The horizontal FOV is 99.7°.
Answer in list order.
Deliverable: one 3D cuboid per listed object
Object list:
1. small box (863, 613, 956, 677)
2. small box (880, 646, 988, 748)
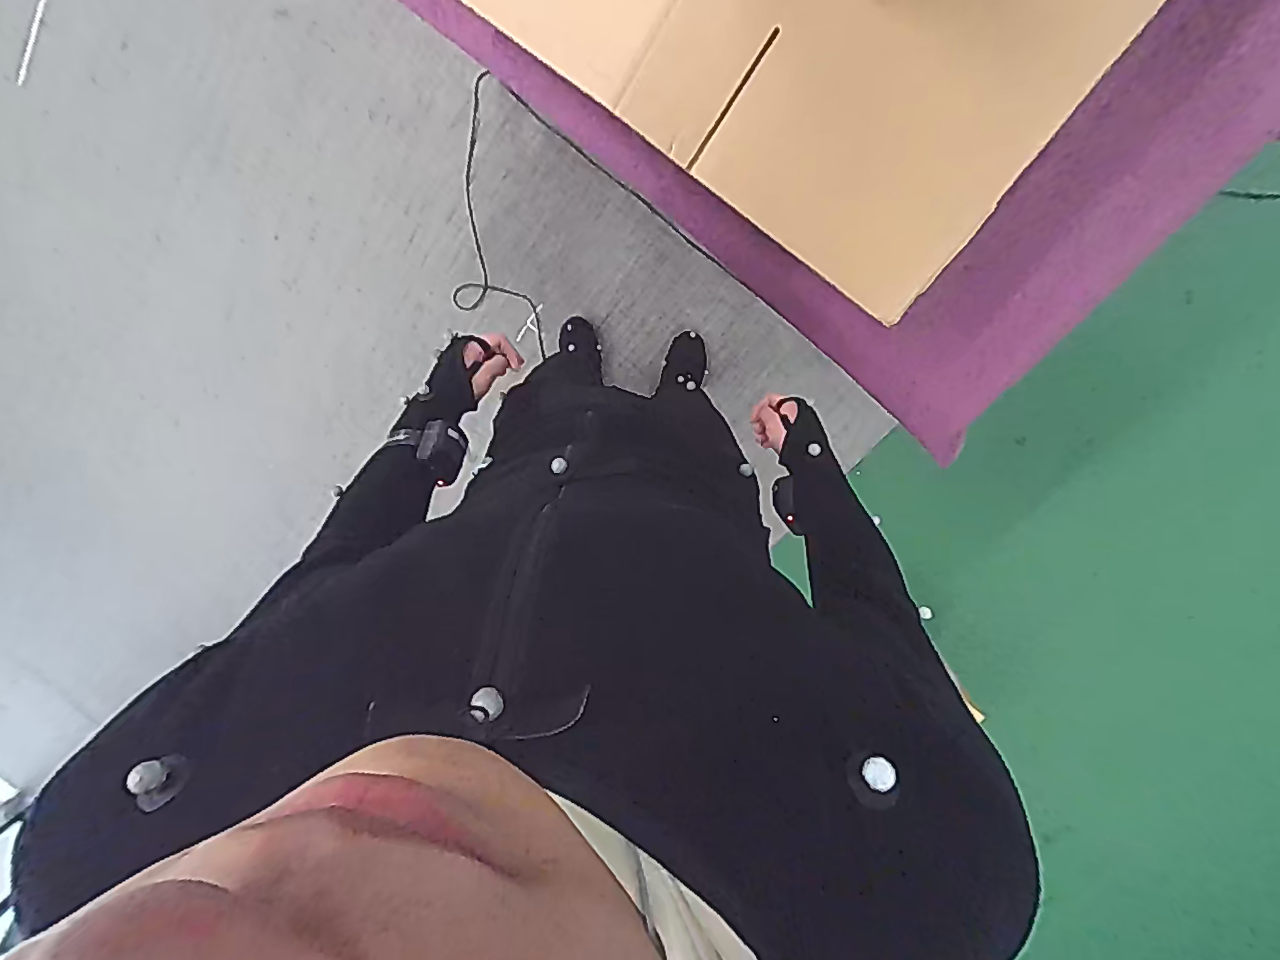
[{"bbox_3d":[0.822,0.542,1.657,0.179,0.176,0.168,38,108,-6],"label":"small box"},{"bbox_3d":[0.804,0.592,1.502,0.179,0.176,0.168,38,108,-7],"label":"small box"}]
